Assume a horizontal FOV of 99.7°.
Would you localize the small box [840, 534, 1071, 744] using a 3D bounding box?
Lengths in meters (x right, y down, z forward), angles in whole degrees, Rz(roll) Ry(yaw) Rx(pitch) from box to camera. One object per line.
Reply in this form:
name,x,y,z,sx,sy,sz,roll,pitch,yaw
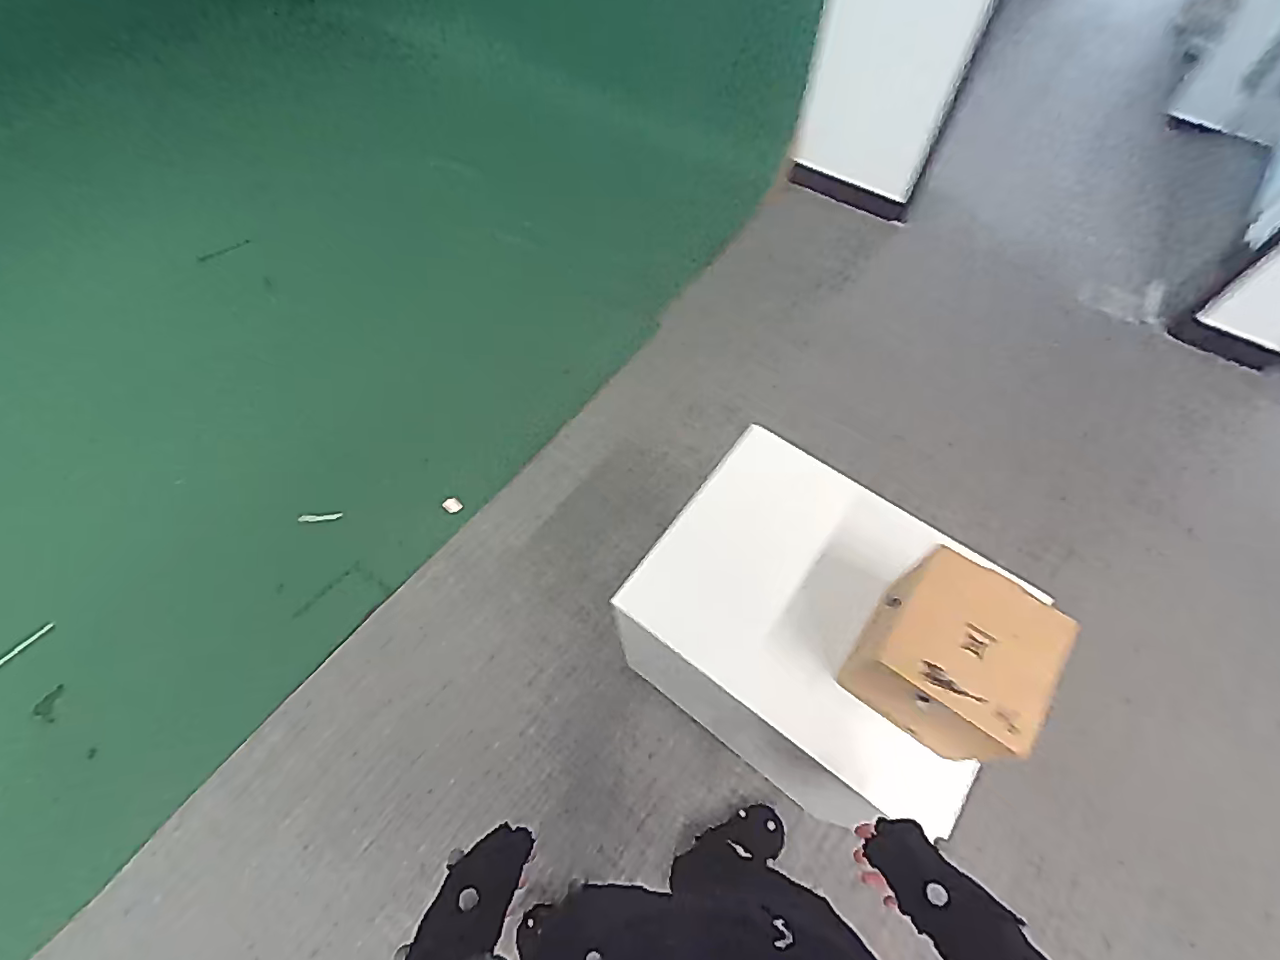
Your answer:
small box,0.379,0.204,0.681,0.168,0.176,0.179,34,68,18
